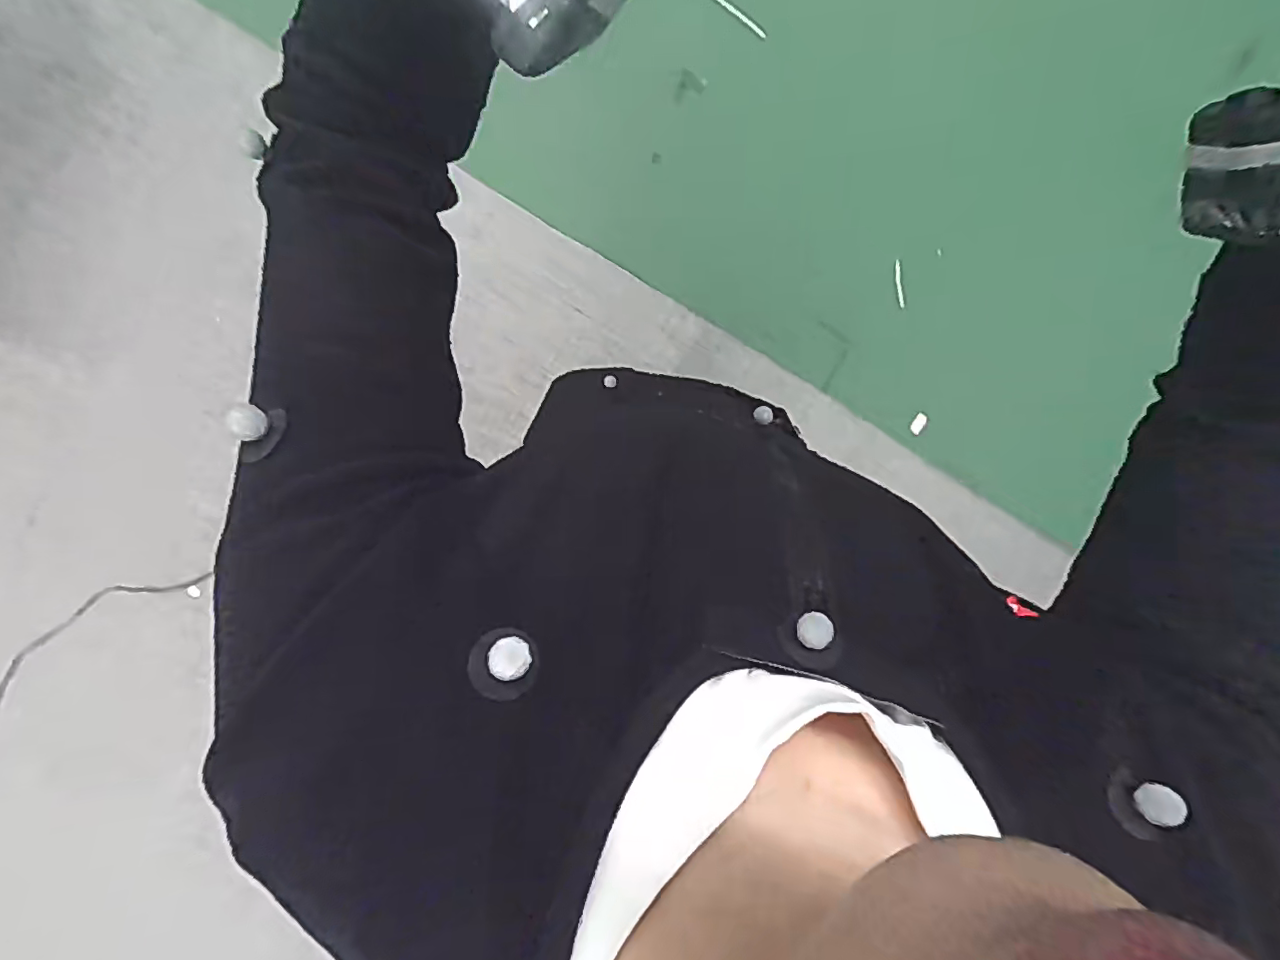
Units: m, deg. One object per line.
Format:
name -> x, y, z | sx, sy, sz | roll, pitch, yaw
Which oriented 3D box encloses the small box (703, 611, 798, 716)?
small box -> 0.279, 0.471, 1.415 | 0.168, 0.176, 0.179 | 25, 97, -5
